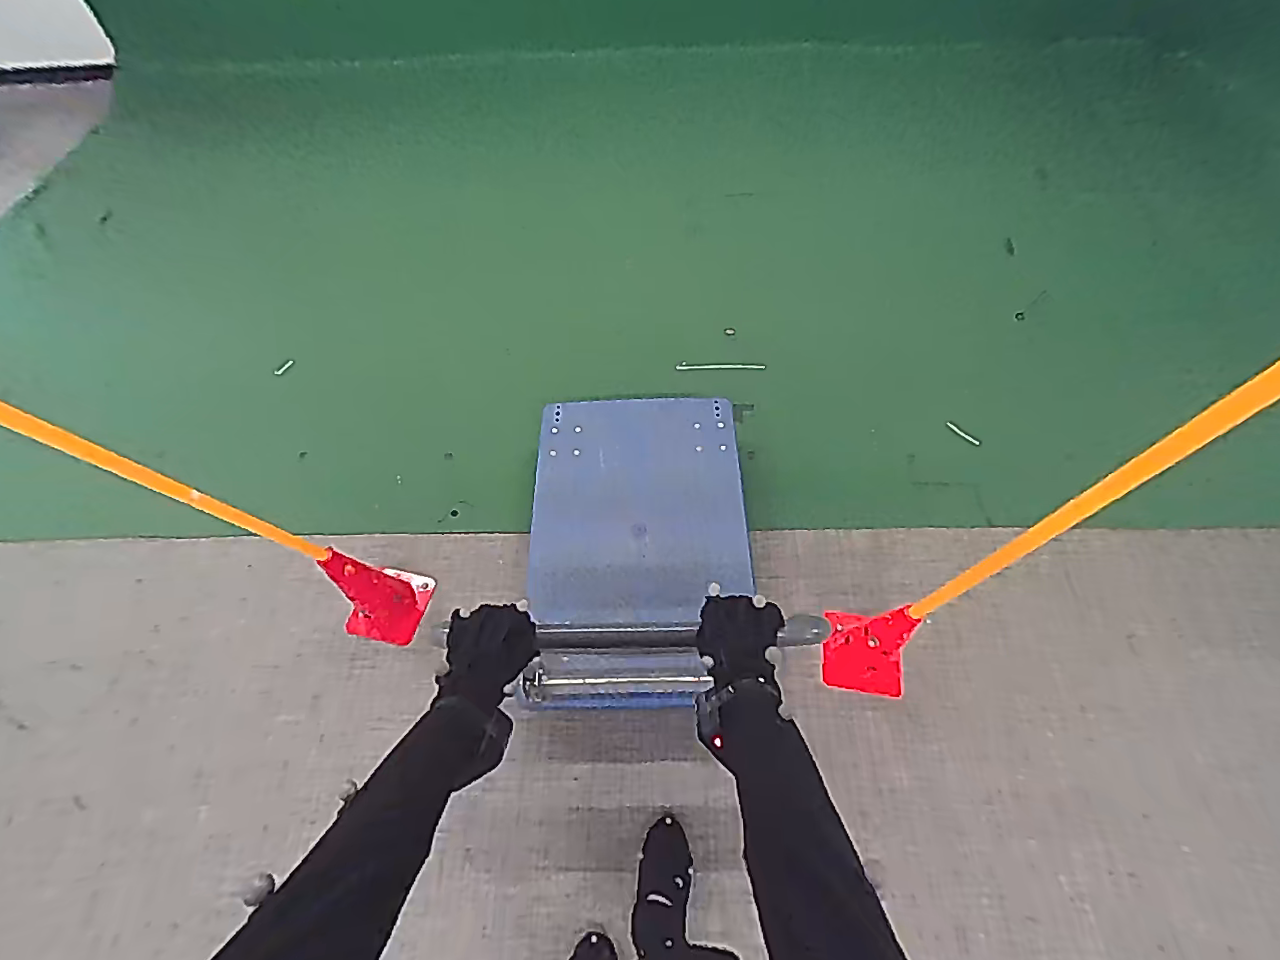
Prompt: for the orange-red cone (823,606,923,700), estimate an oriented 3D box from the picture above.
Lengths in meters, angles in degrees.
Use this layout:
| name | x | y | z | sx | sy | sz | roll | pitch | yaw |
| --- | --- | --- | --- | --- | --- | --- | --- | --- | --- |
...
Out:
| name | x | y | z | sx | sy | sz | roll | pitch | yaw |
| --- | --- | --- | --- | --- | --- | --- | --- | --- | --- |
| orange-red cone | 0.574 | 0.370 | 1.263 | 0.198 | 0.360 | 0.199 | 8 | 60 | 8 |
